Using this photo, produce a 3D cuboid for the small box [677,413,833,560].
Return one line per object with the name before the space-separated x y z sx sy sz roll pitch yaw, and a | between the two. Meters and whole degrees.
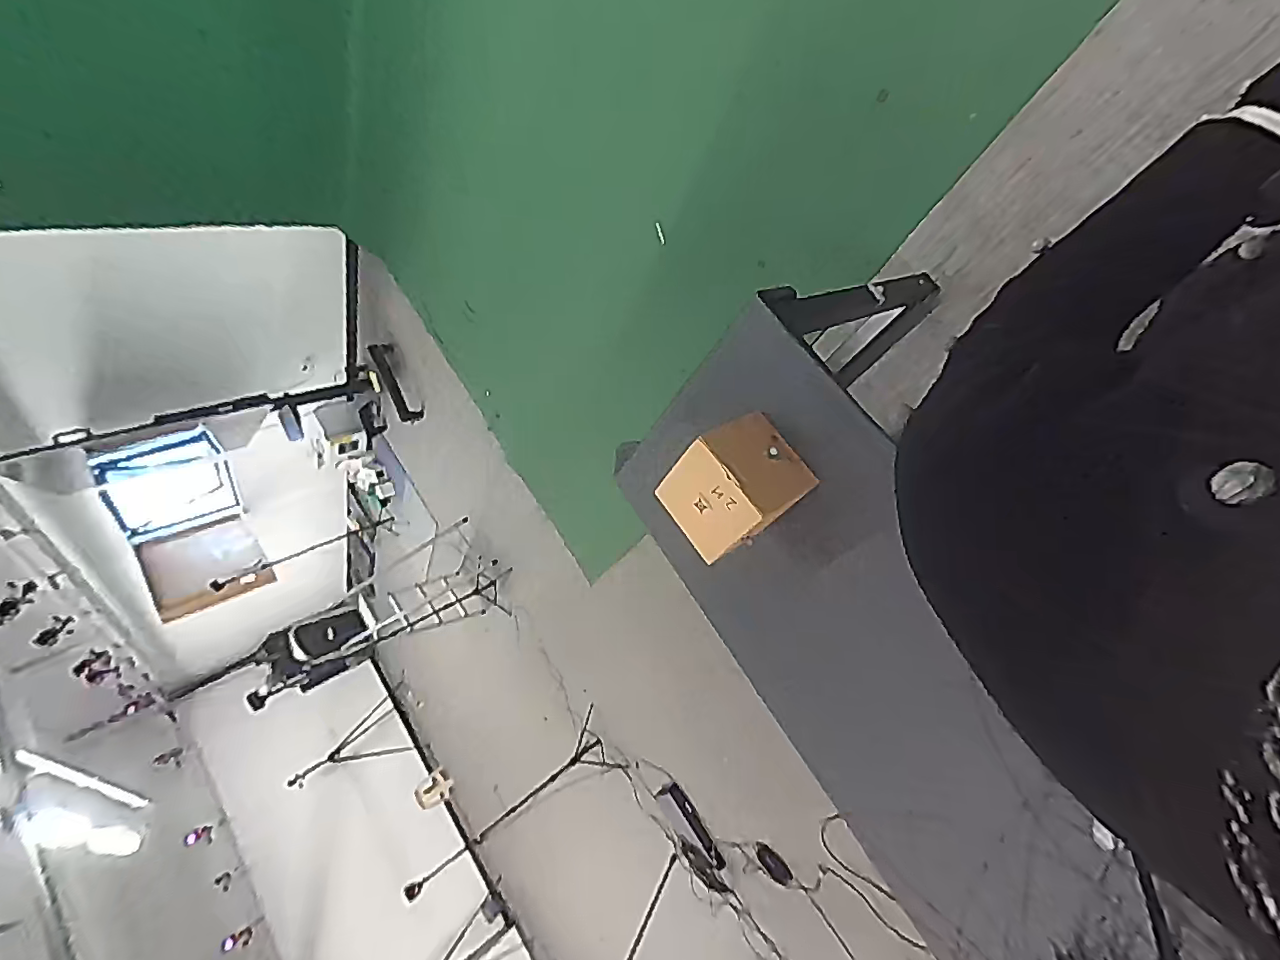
small box | 0.202 0.009 0.958 0.168 0.176 0.179 53 142 16
